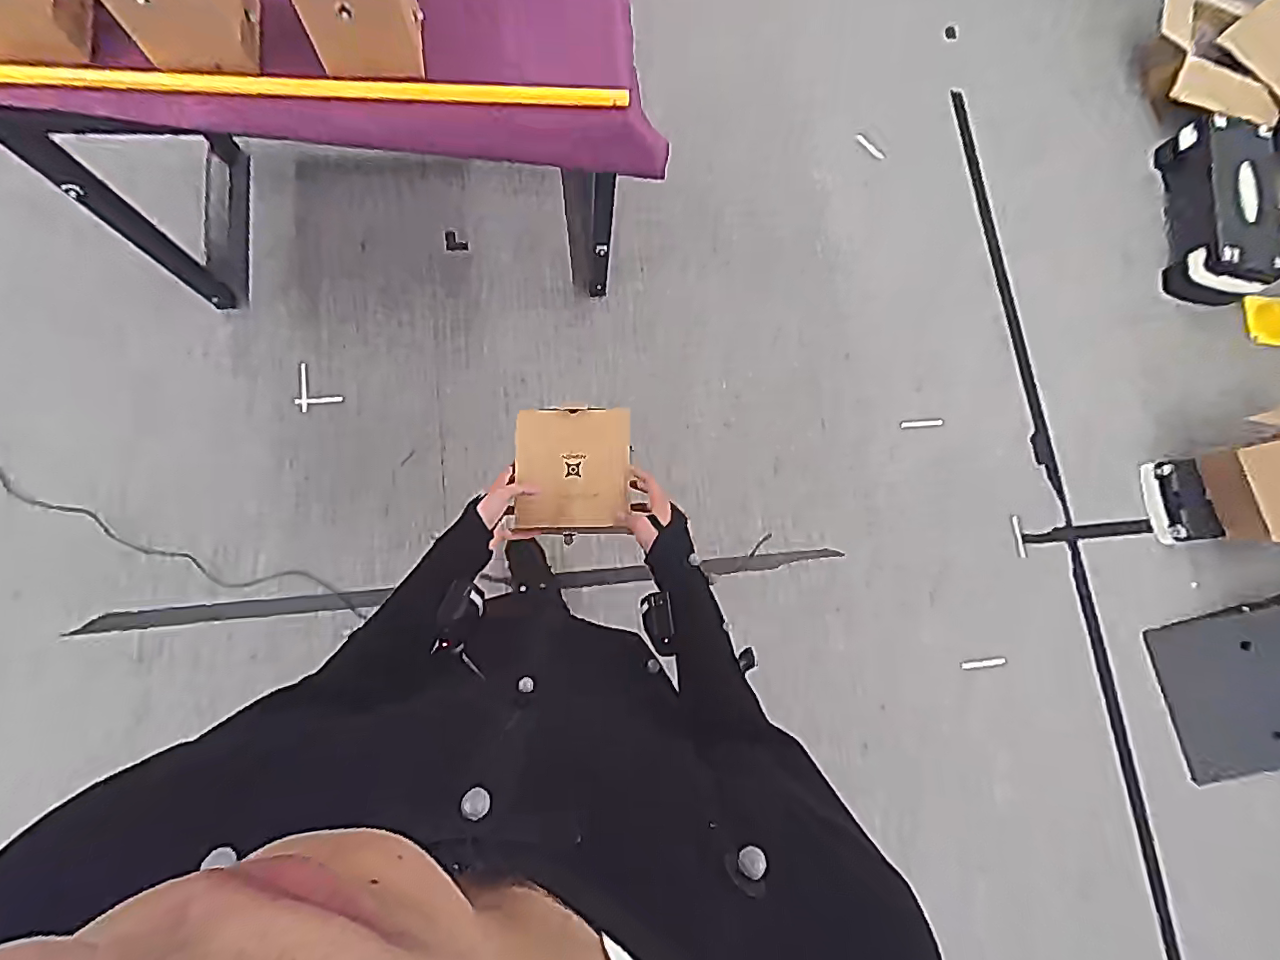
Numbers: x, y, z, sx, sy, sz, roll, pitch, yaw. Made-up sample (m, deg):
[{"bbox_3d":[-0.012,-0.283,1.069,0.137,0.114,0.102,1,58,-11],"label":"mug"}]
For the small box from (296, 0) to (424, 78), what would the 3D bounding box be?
[{"bbox_3d":[-0.502,-0.860,0.967,0.179,0.176,0.168,-6,79,-8],"label":"small box"}]

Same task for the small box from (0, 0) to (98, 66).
[{"bbox_3d":[-1.063,-0.829,0.895,0.179,0.176,0.168,-5,80,-8],"label":"small box"}]

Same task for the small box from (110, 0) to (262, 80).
[{"bbox_3d":[-0.786,-0.839,0.931,0.168,0.176,0.179,-5,80,-7],"label":"small box"}]

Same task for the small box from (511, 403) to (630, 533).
[{"bbox_3d":[-0.101,-0.011,0.840,0.168,0.176,0.179,0,81,-2],"label":"small box"}]
